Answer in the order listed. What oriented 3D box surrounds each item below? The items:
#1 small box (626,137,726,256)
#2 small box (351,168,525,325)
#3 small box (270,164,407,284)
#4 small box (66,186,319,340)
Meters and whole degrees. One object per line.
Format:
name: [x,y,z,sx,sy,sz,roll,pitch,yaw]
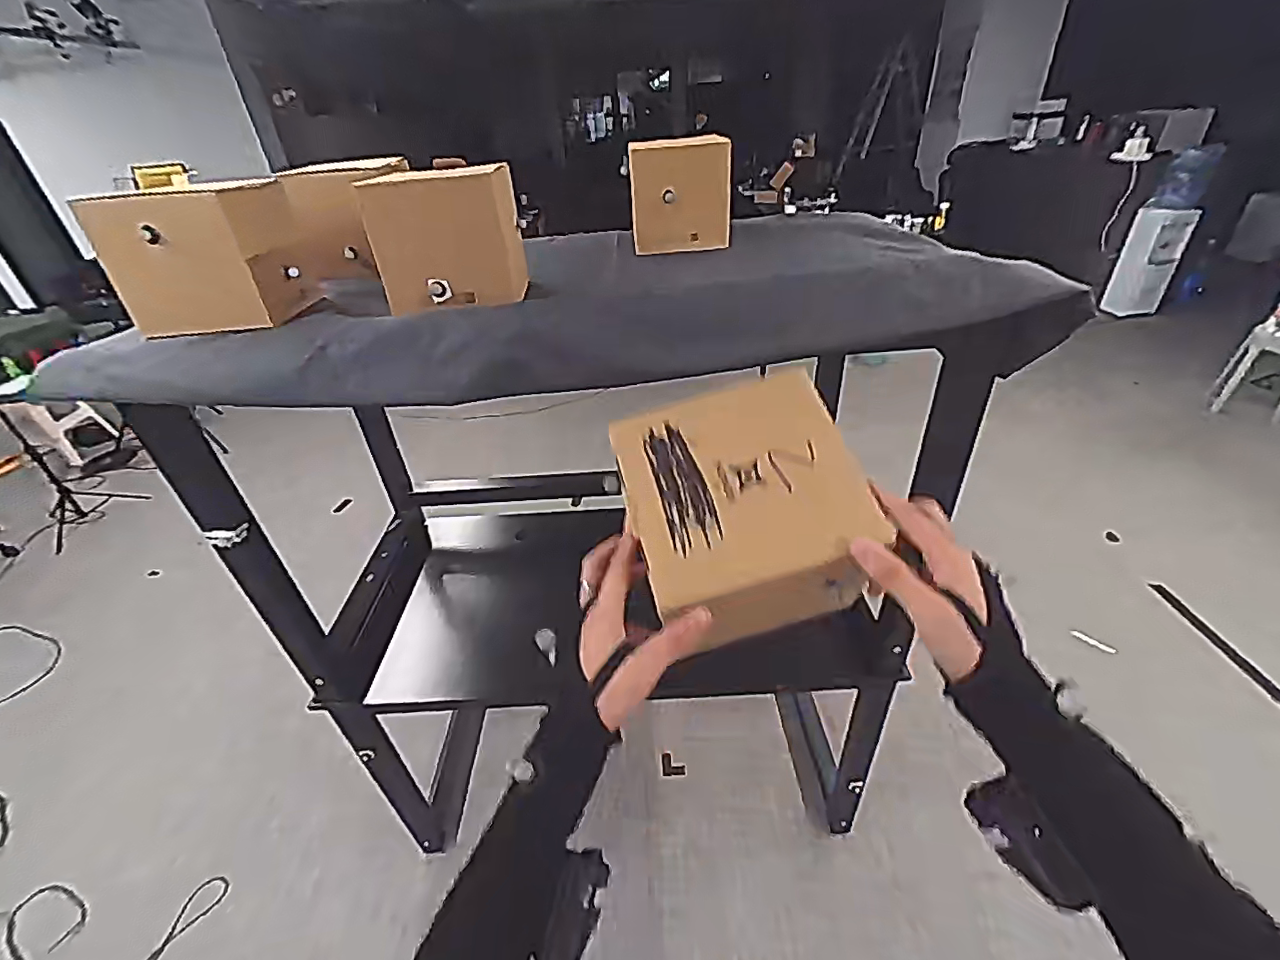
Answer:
small box: [0.064,-0.513,0.982,0.168,0.176,0.179,-5,34,1]
small box: [-0.258,-0.322,0.742,0.168,0.176,0.179,-7,33,-2]
small box: [-0.511,-0.466,0.982,0.179,0.176,0.168,-4,34,-1]
small box: [-0.589,-0.299,0.744,0.179,0.176,0.168,-5,33,-2]
